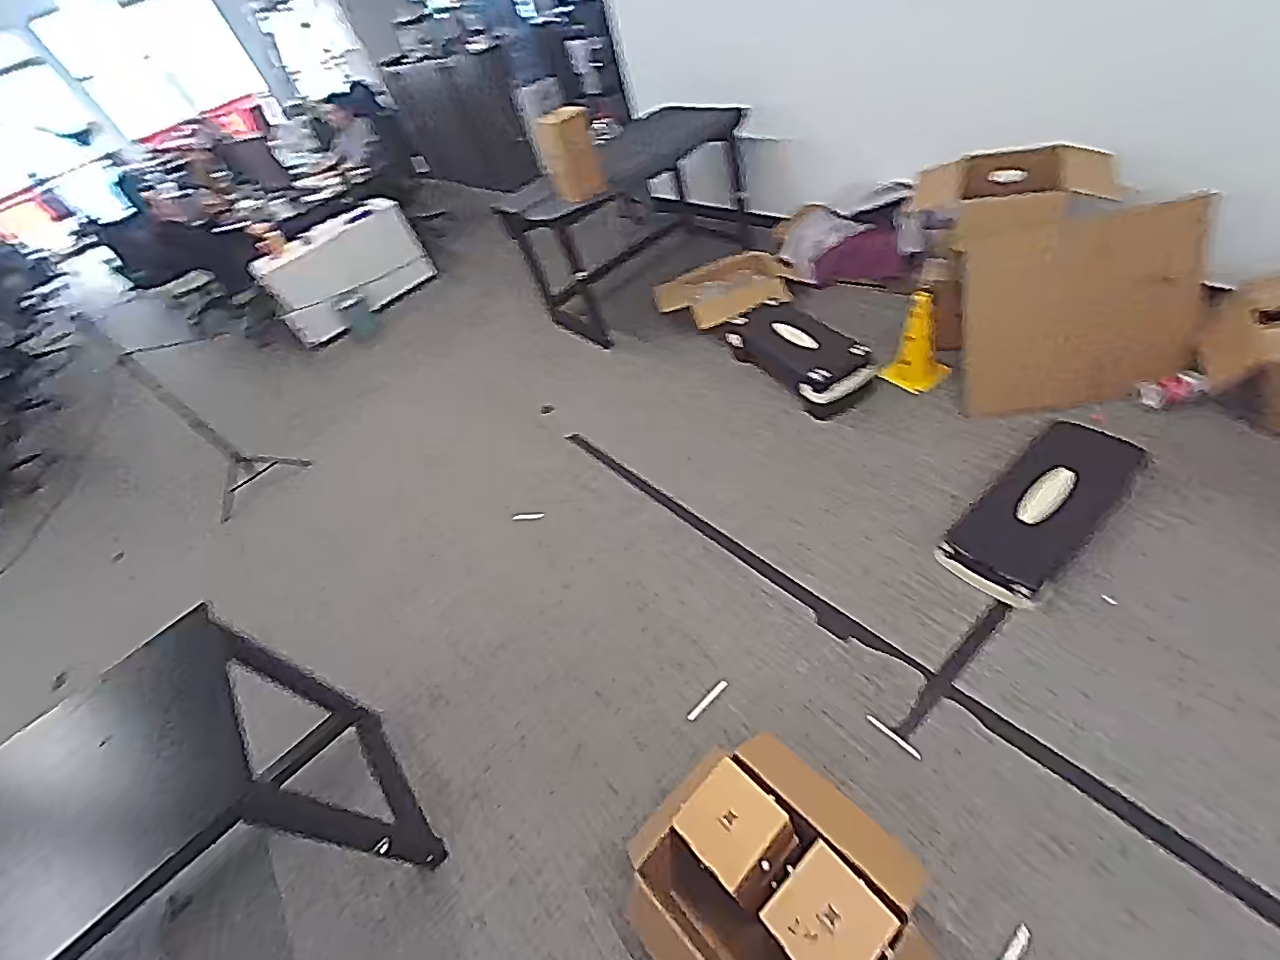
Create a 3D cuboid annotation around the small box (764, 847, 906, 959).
[{"bbox_3d":[0.347,0.814,0.976,0.179,0.176,0.168,-38,47,-16],"label":"small box"}]
